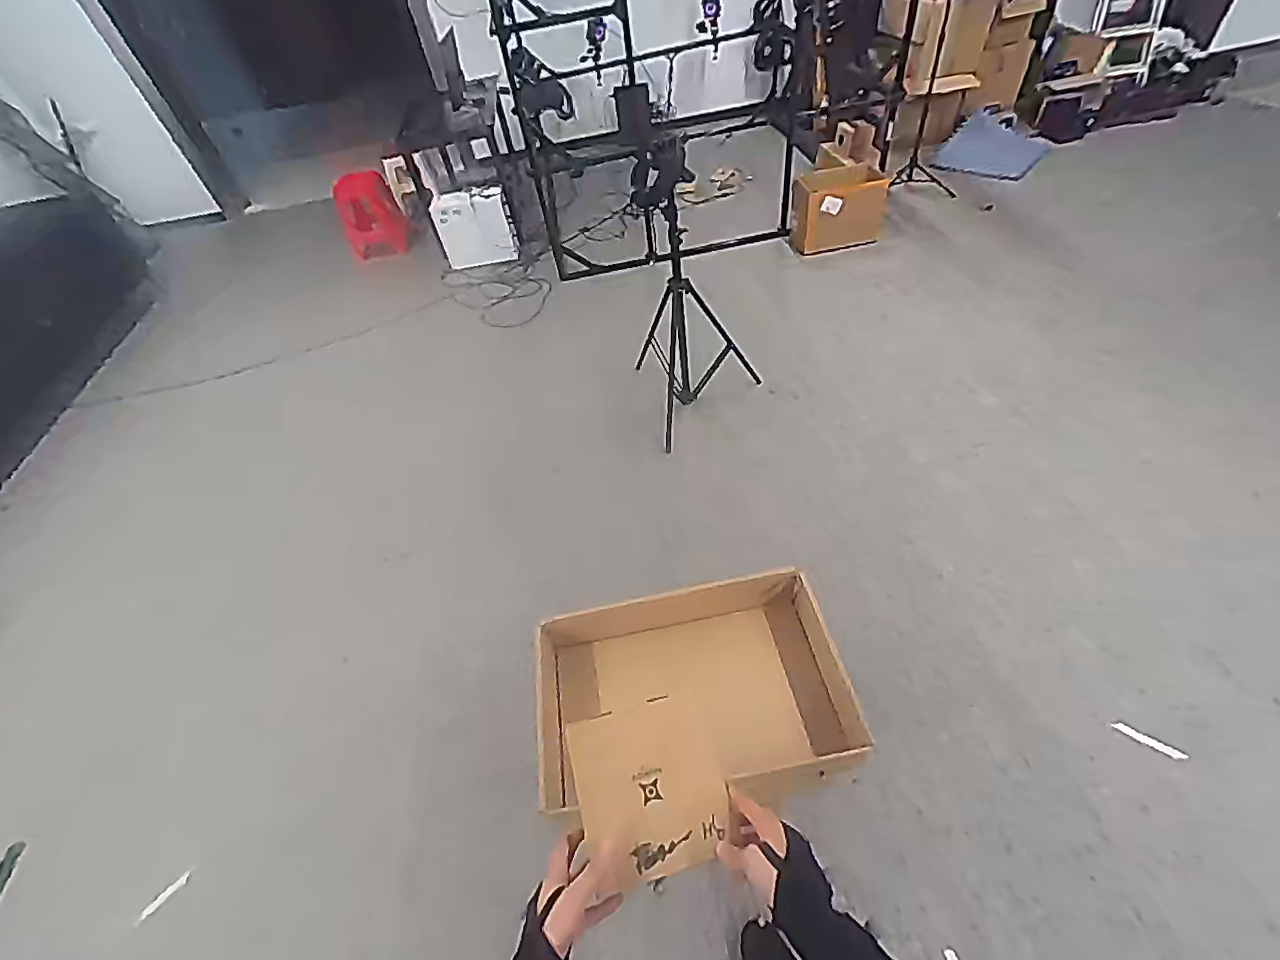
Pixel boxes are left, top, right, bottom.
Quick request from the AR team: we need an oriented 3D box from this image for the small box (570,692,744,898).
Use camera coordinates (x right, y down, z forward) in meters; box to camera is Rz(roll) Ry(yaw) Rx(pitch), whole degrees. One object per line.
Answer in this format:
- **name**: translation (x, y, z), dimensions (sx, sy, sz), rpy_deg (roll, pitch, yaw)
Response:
- **small box**: translation (0.012, 0.396, 0.682), dimensions (0.168, 0.176, 0.179), rpy_deg (-13, 56, -9)
